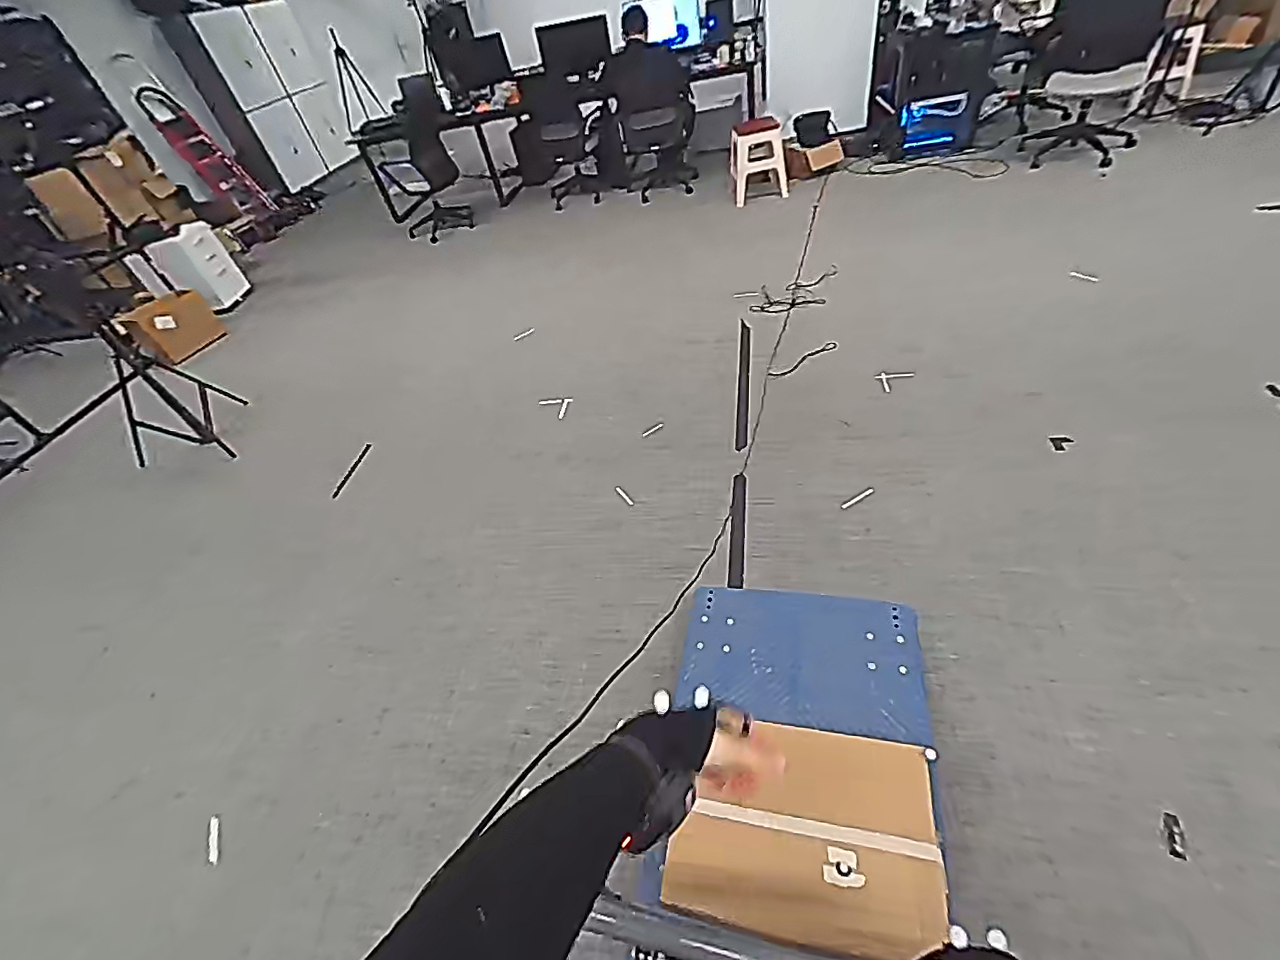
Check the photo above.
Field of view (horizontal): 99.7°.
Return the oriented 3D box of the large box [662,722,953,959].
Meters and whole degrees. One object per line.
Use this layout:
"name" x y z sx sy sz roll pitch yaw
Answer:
"large box" 0.277 0.668 0.952 0.408 0.320 0.320 2 46 16
